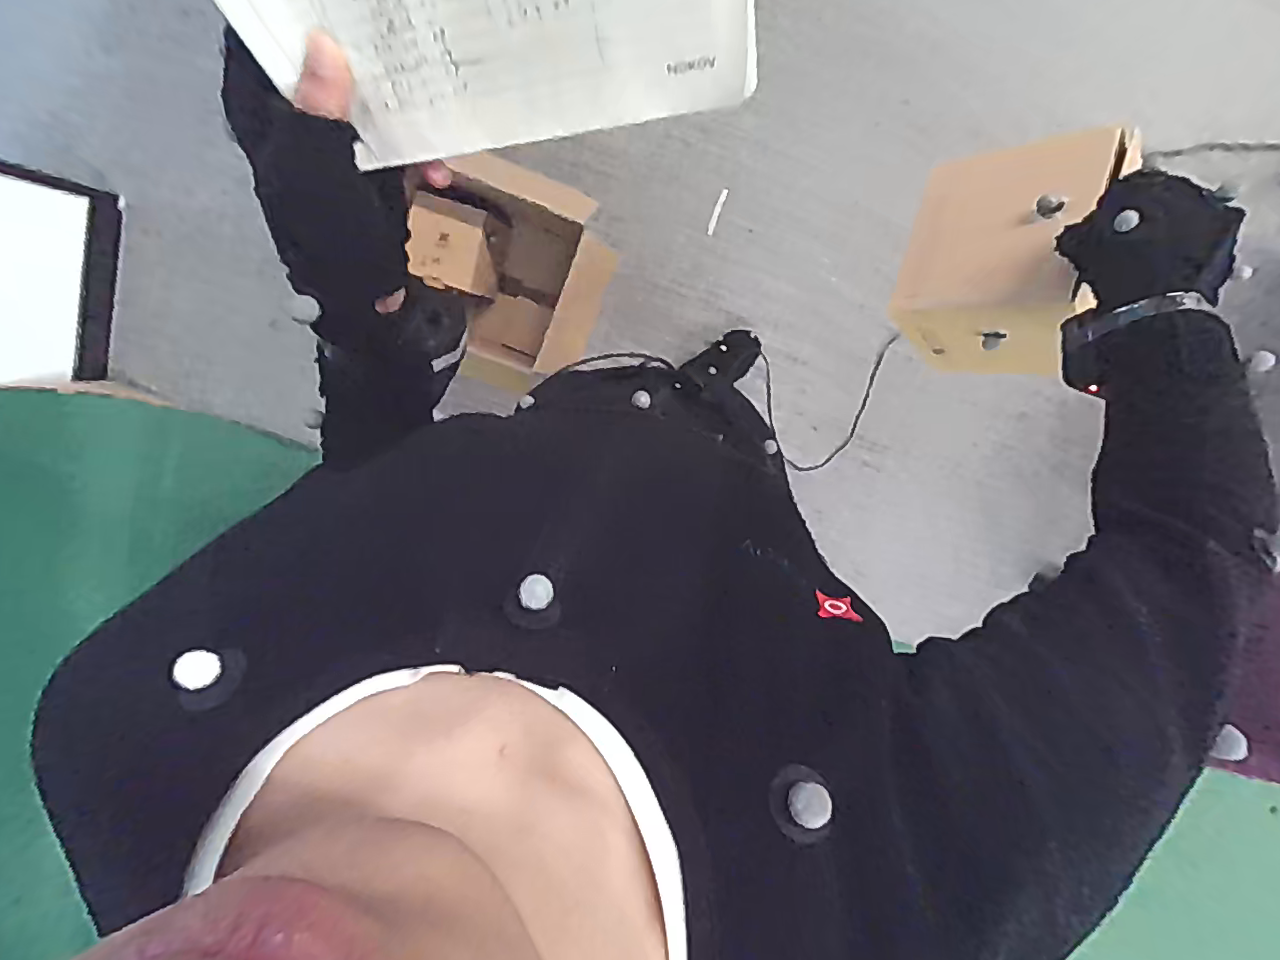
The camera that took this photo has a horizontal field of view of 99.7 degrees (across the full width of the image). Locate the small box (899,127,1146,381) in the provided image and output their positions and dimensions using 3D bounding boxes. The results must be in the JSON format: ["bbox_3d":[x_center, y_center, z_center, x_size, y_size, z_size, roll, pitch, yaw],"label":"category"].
[{"bbox_3d":[0.403,-0.220,0.580,0.168,0.176,0.179,23,84,-42],"label":"small box"}]
